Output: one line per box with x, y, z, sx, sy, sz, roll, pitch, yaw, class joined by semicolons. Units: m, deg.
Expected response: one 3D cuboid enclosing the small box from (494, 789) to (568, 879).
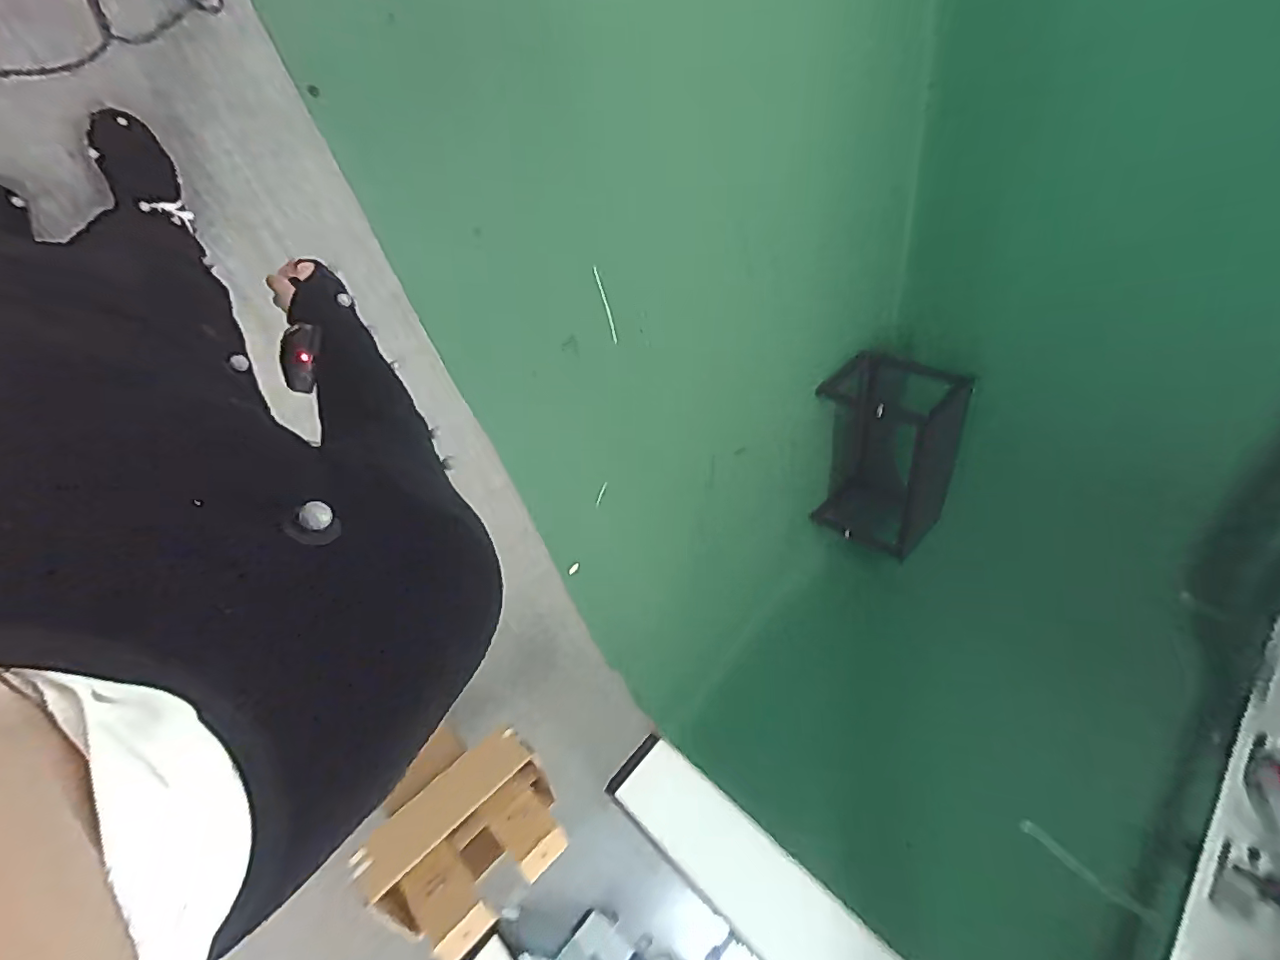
-0.373;1.206;1.854;0.168;0.176;0.179;-34;134;-30;small box

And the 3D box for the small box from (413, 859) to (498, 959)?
-0.582;1.350;1.706;0.168;0.176;0.179;-35;134;-30;small box
